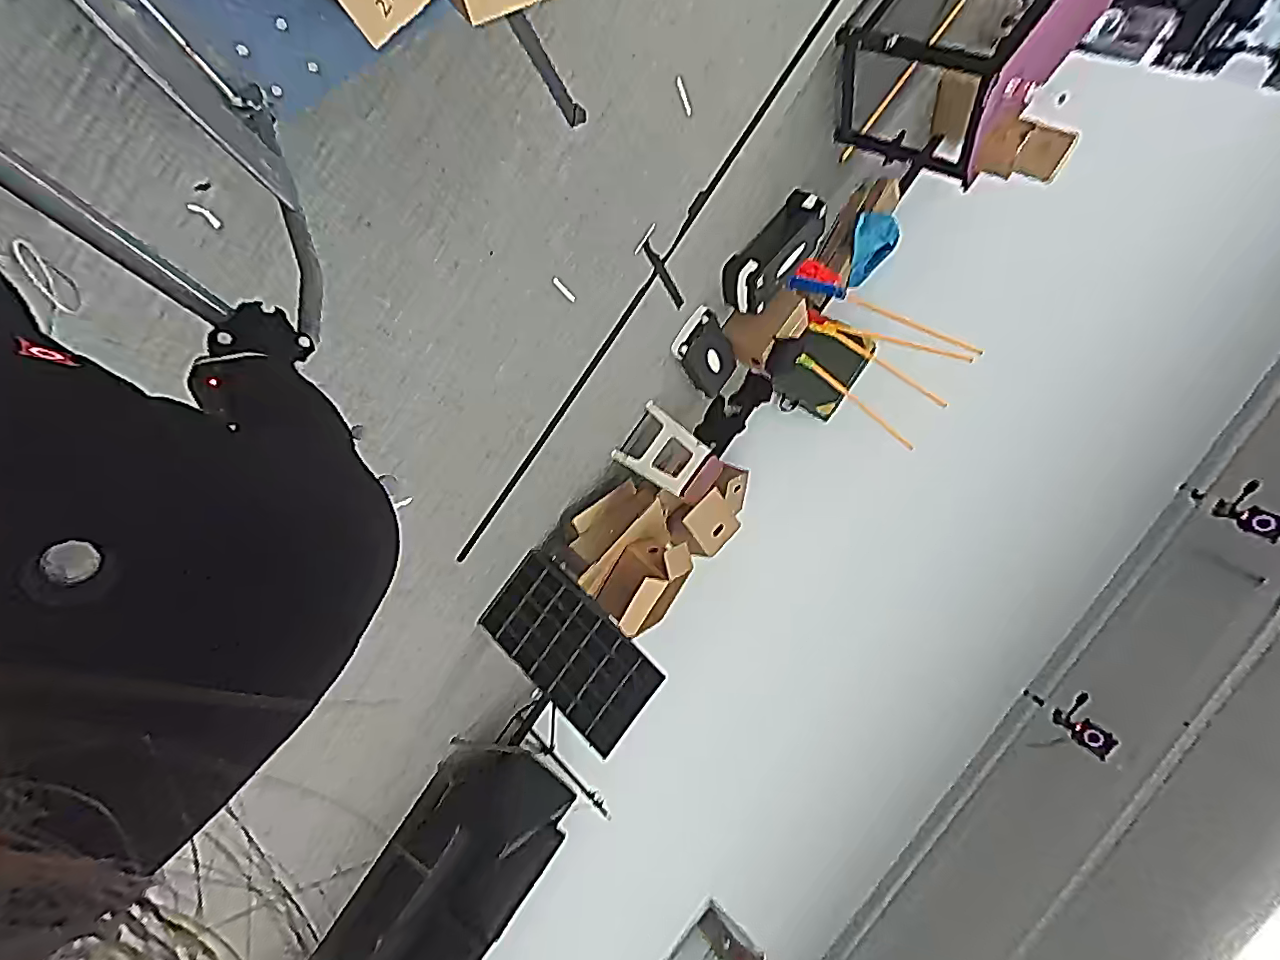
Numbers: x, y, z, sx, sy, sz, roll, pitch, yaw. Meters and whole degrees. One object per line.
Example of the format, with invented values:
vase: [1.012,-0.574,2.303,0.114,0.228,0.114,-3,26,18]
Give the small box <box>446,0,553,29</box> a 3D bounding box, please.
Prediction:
small box: [-0.261,-0.911,0.905,0.179,0.176,0.168,-28,153,-9]

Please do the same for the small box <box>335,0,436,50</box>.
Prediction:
small box: [-0.436,-0.834,0.836,0.168,0.176,0.179,-36,154,5]
